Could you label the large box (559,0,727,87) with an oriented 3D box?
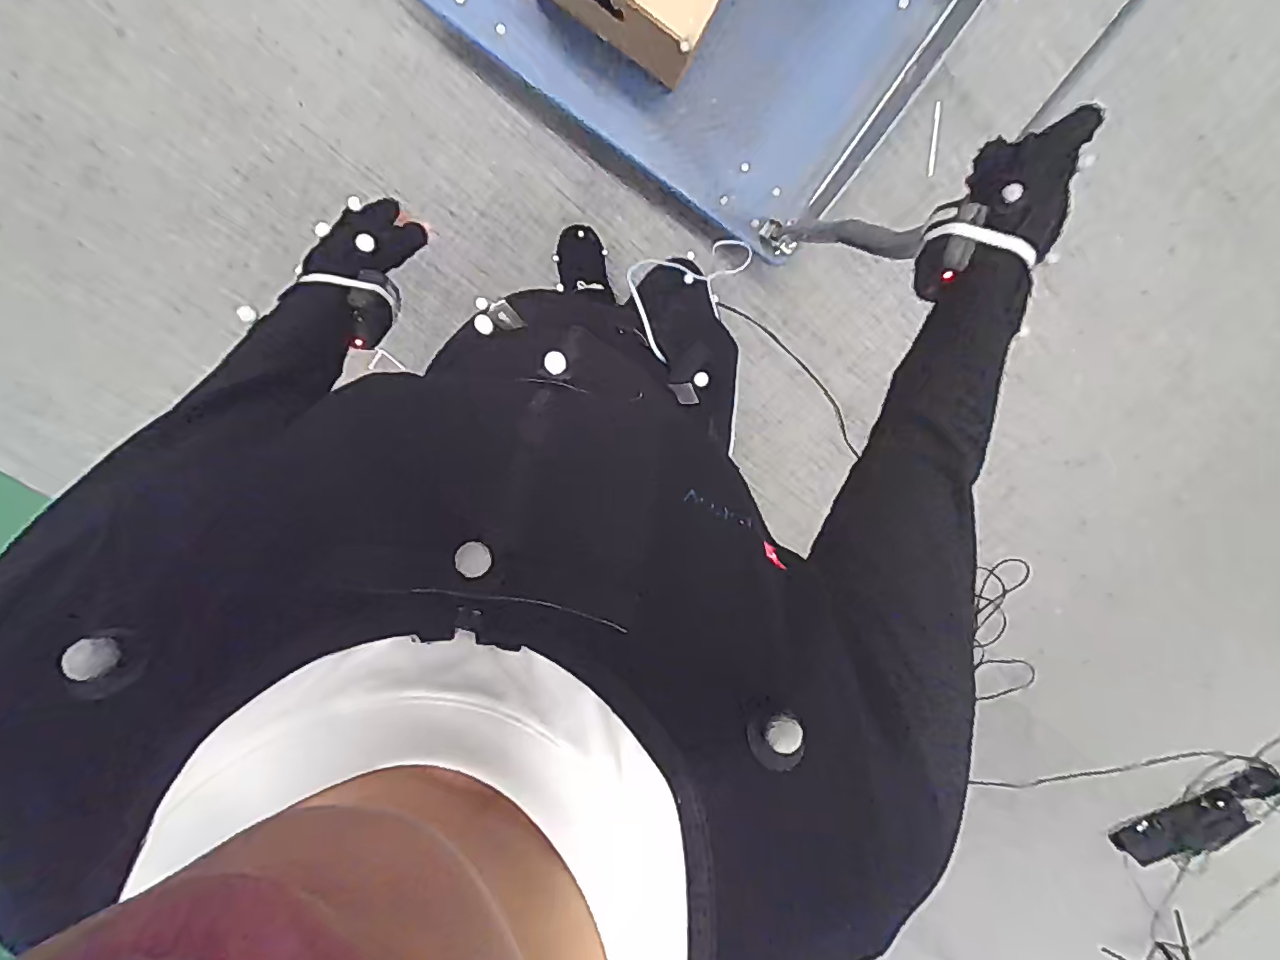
[{"bbox_3d":[0.046,-0.880,0.766,0.320,0.320,0.408,28,114,-13],"label":"large box"}]
